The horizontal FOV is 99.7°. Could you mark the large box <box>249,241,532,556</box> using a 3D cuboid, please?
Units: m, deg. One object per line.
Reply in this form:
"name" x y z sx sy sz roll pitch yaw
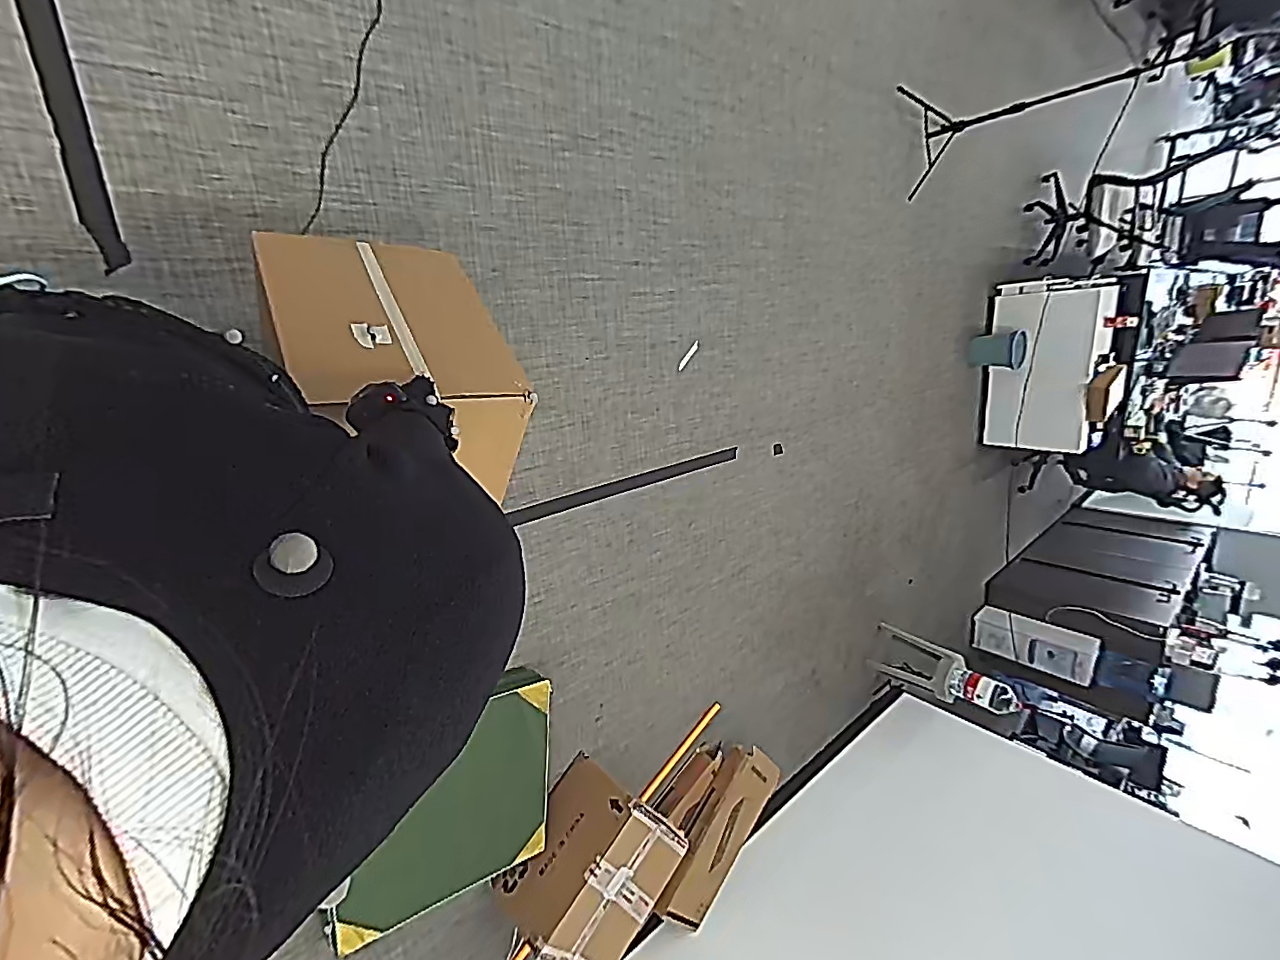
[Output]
"large box" -0.439 -0.142 0.923 0.320 0.408 0.320 -10 145 -37
